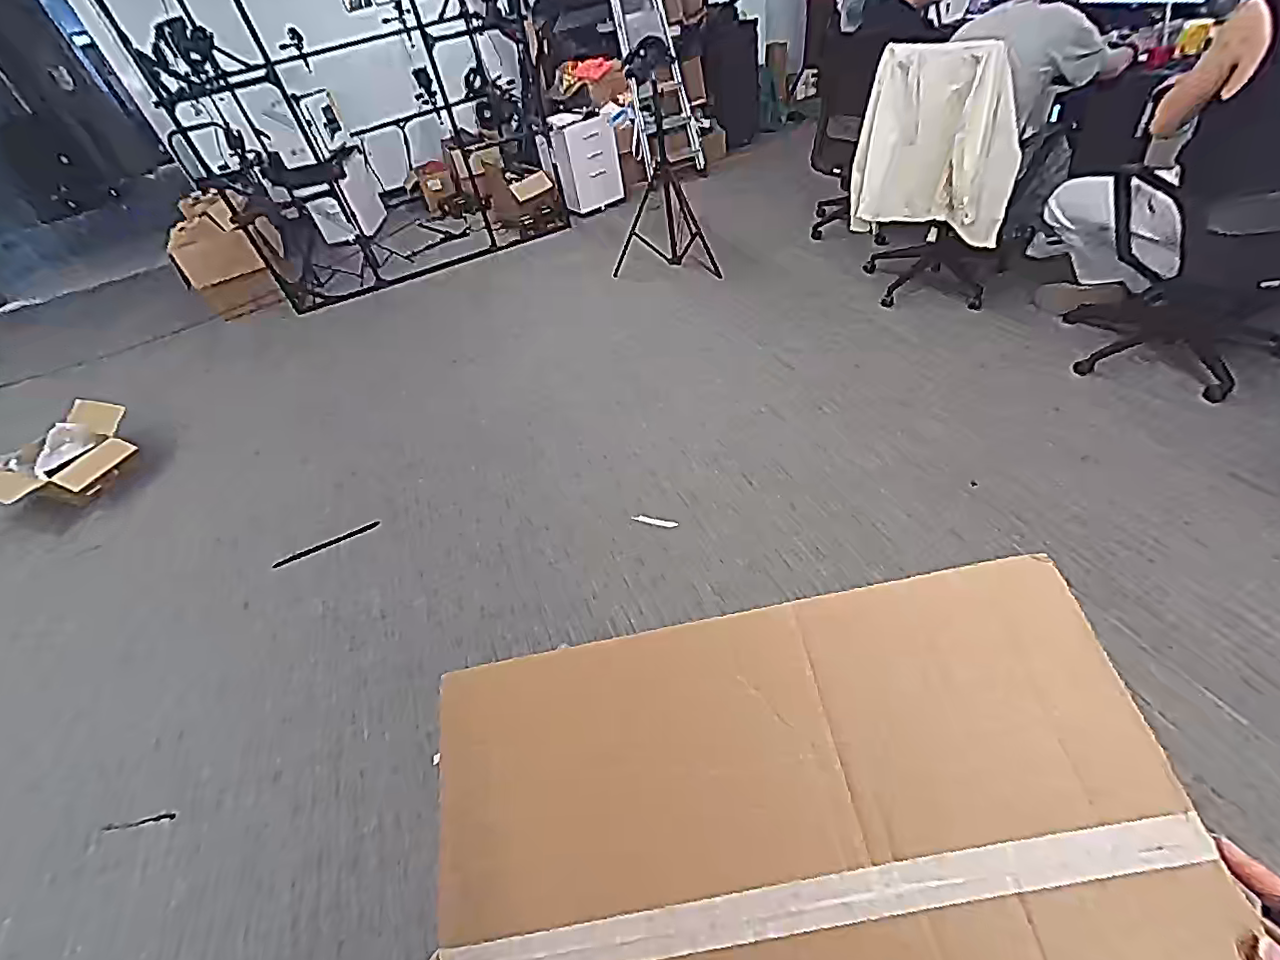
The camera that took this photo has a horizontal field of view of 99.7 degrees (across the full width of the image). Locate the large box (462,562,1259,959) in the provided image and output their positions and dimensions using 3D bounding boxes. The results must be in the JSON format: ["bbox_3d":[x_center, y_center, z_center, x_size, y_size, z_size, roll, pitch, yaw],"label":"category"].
[{"bbox_3d":[0.116,0.298,0.424,0.408,0.320,0.320,-13,62,3],"label":"large box"}]
